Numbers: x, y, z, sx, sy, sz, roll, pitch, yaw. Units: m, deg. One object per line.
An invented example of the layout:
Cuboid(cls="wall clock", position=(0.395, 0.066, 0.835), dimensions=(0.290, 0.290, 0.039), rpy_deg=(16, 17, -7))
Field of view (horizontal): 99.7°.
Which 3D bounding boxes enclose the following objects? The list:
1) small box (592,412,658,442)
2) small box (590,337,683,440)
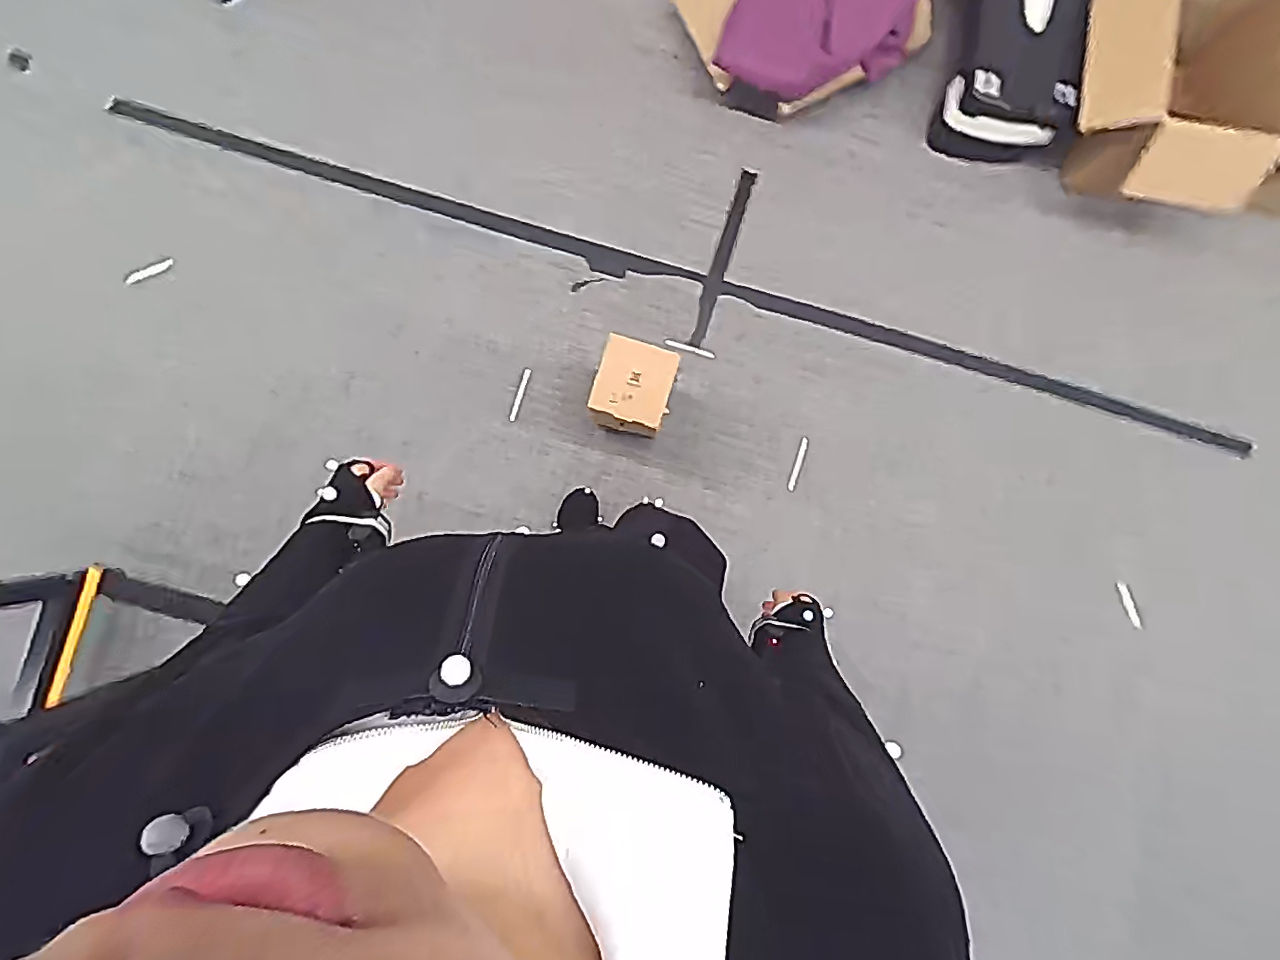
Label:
Cuboid(cls="small box", position=(-0.018, -0.203, 1.424), dimensions=(0.179, 0.176, 0.168), rpy_deg=(14, 89, -1))
Cuboid(cls="small box", position=(-0.010, -0.205, 1.259), dimensions=(0.168, 0.176, 0.179), rpy_deg=(18, 89, 0))
